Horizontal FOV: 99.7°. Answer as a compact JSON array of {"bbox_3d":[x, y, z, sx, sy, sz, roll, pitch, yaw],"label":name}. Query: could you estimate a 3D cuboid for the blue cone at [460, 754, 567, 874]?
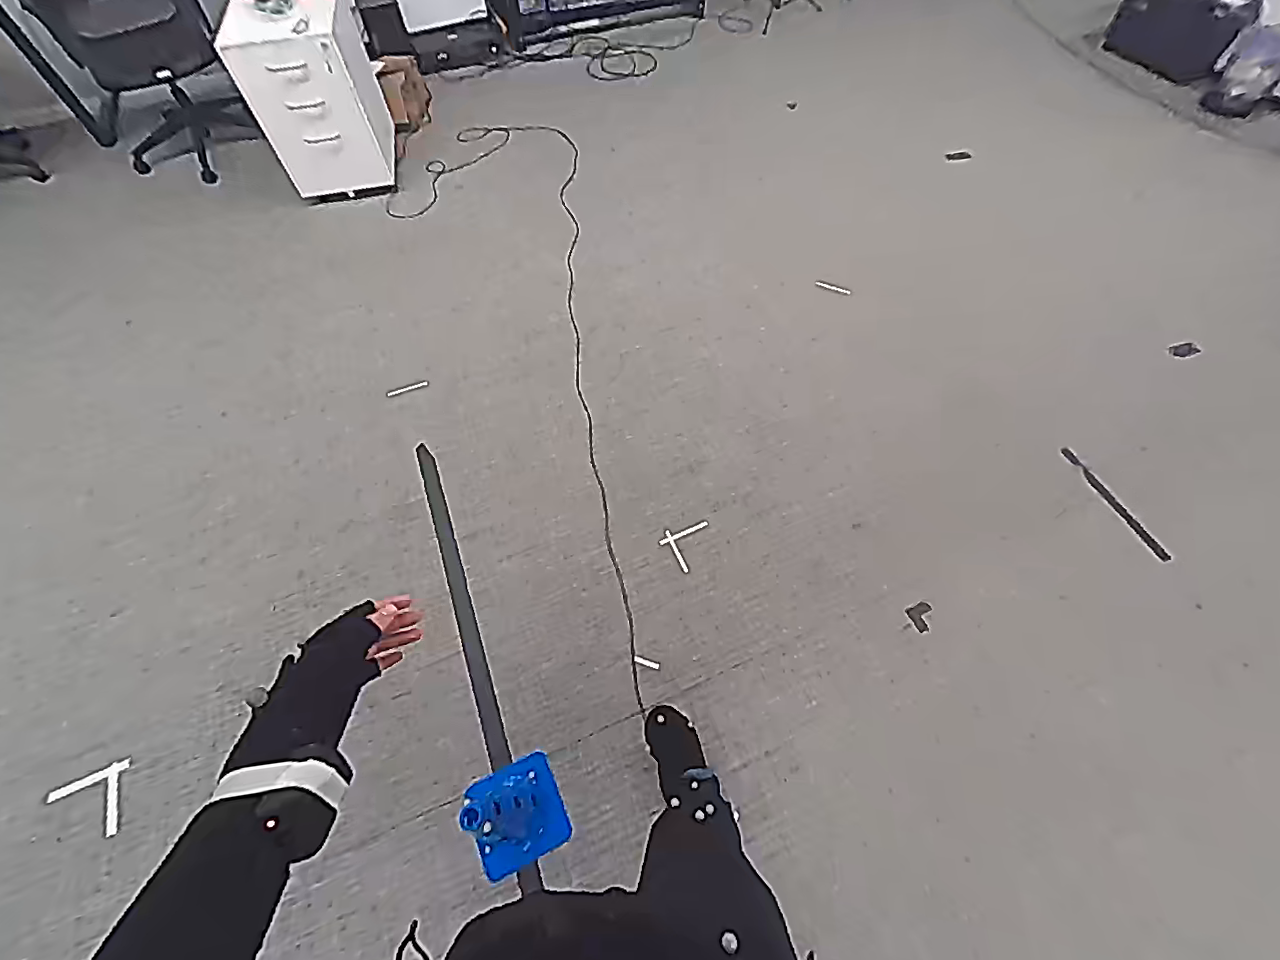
[{"bbox_3d":[-0.285,0.651,1.057,0.192,0.380,0.193,-25,61,-13],"label":"blue cone"}]
